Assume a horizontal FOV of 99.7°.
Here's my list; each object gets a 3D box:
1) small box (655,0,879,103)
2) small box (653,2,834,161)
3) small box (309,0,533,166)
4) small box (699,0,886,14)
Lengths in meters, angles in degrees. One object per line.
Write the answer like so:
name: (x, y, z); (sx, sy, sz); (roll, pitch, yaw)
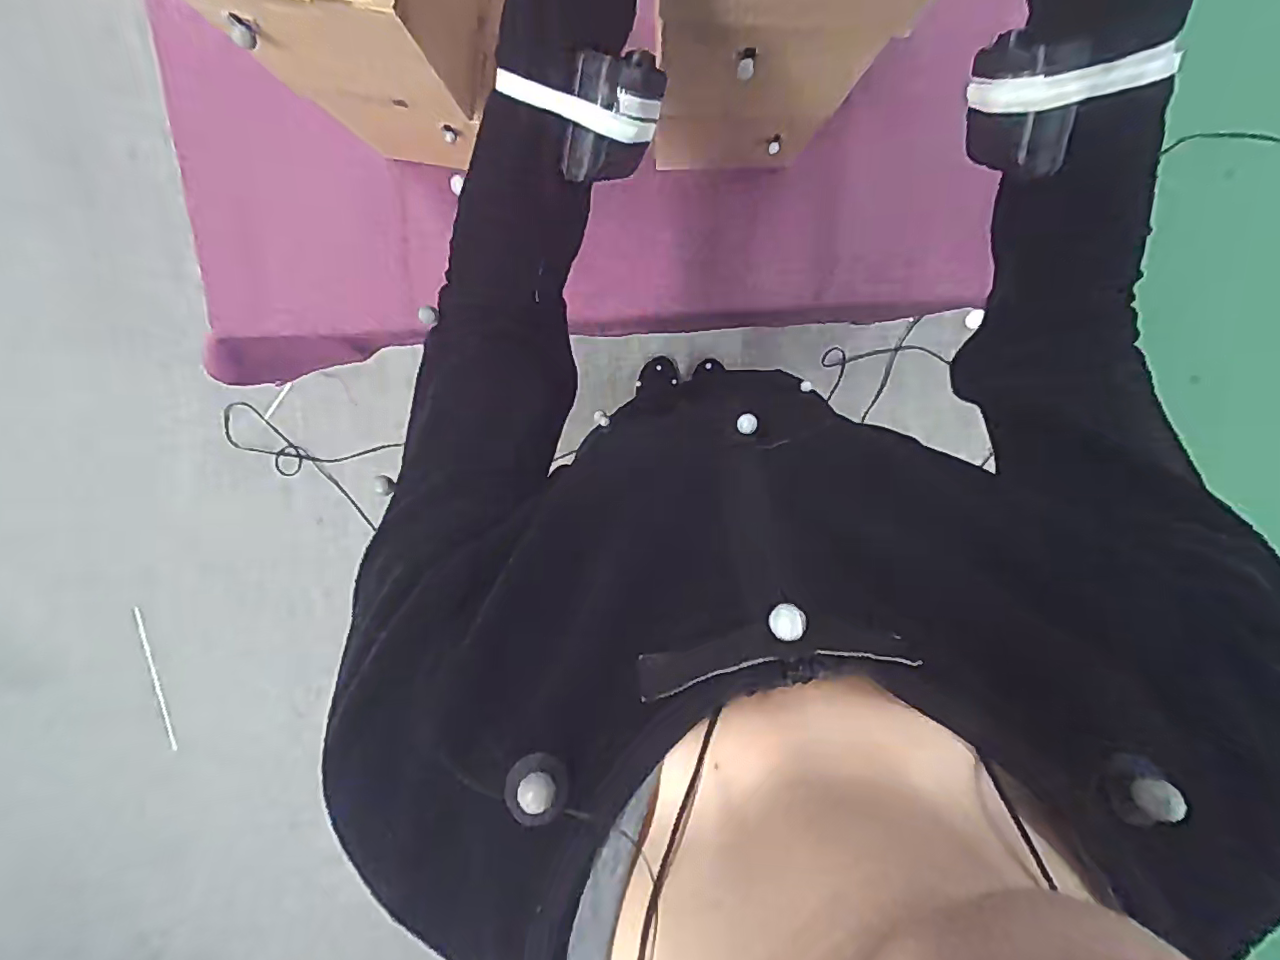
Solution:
small box: (0.101, -0.435, 0.438); (0.179, 0.176, 0.168); (1, 101, 1)
small box: (0.104, -0.473, 0.596); (0.179, 0.176, 0.168); (-1, 100, 1)
small box: (-0.229, -0.474, 0.600); (0.179, 0.176, 0.168); (8, 101, -1)
small box: (0.102, -0.389, 0.280); (0.179, 0.176, 0.168); (4, 100, 0)
